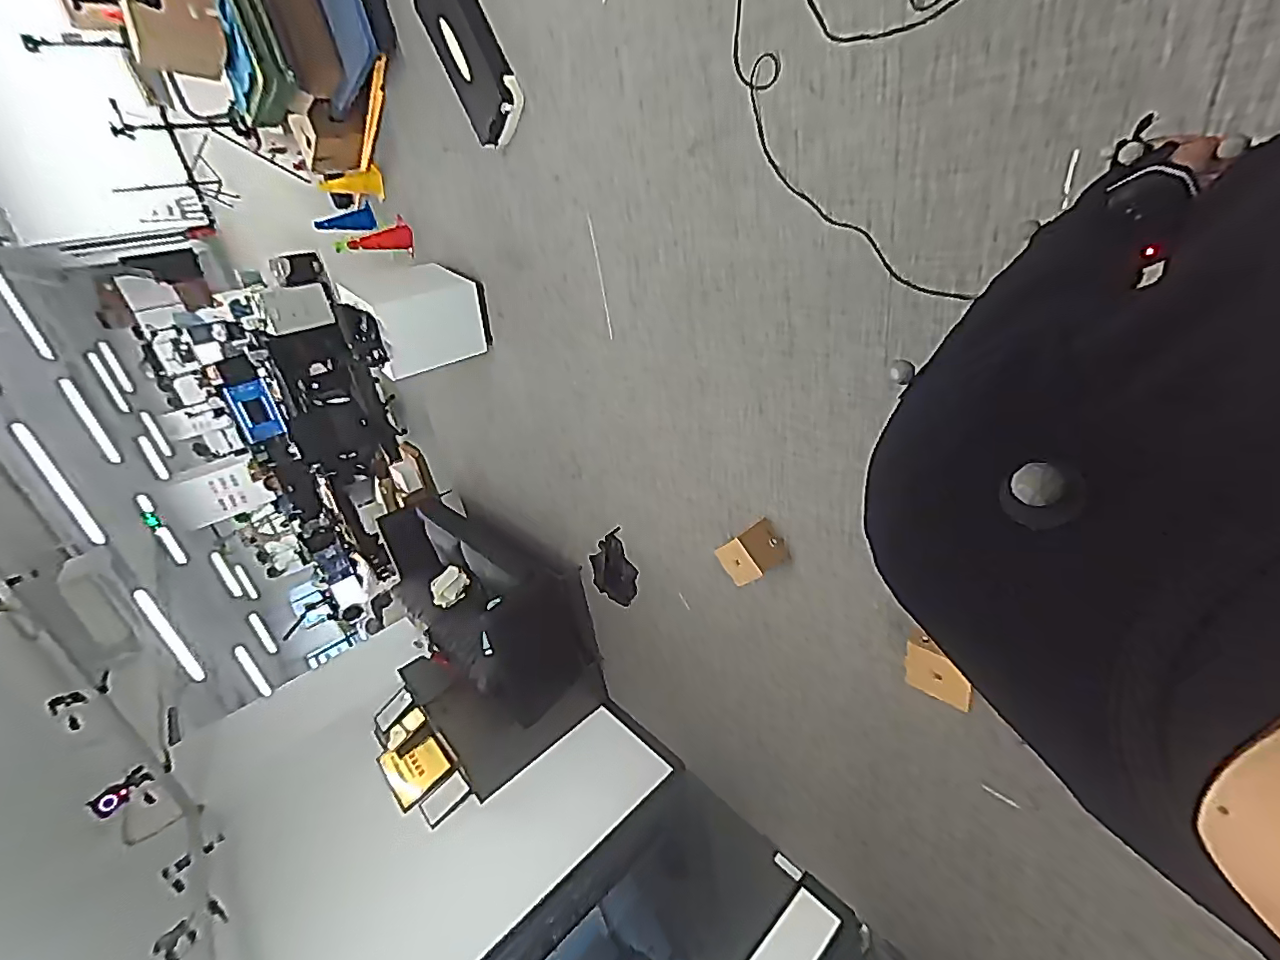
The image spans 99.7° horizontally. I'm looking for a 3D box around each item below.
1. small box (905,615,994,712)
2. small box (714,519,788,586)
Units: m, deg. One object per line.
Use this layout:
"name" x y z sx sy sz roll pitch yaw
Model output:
"small box" 0.894 0.521 1.562 0.179 0.176 0.168 19 129 48
"small box" 0.421 0.273 2.038 0.168 0.176 0.179 55 146 9
